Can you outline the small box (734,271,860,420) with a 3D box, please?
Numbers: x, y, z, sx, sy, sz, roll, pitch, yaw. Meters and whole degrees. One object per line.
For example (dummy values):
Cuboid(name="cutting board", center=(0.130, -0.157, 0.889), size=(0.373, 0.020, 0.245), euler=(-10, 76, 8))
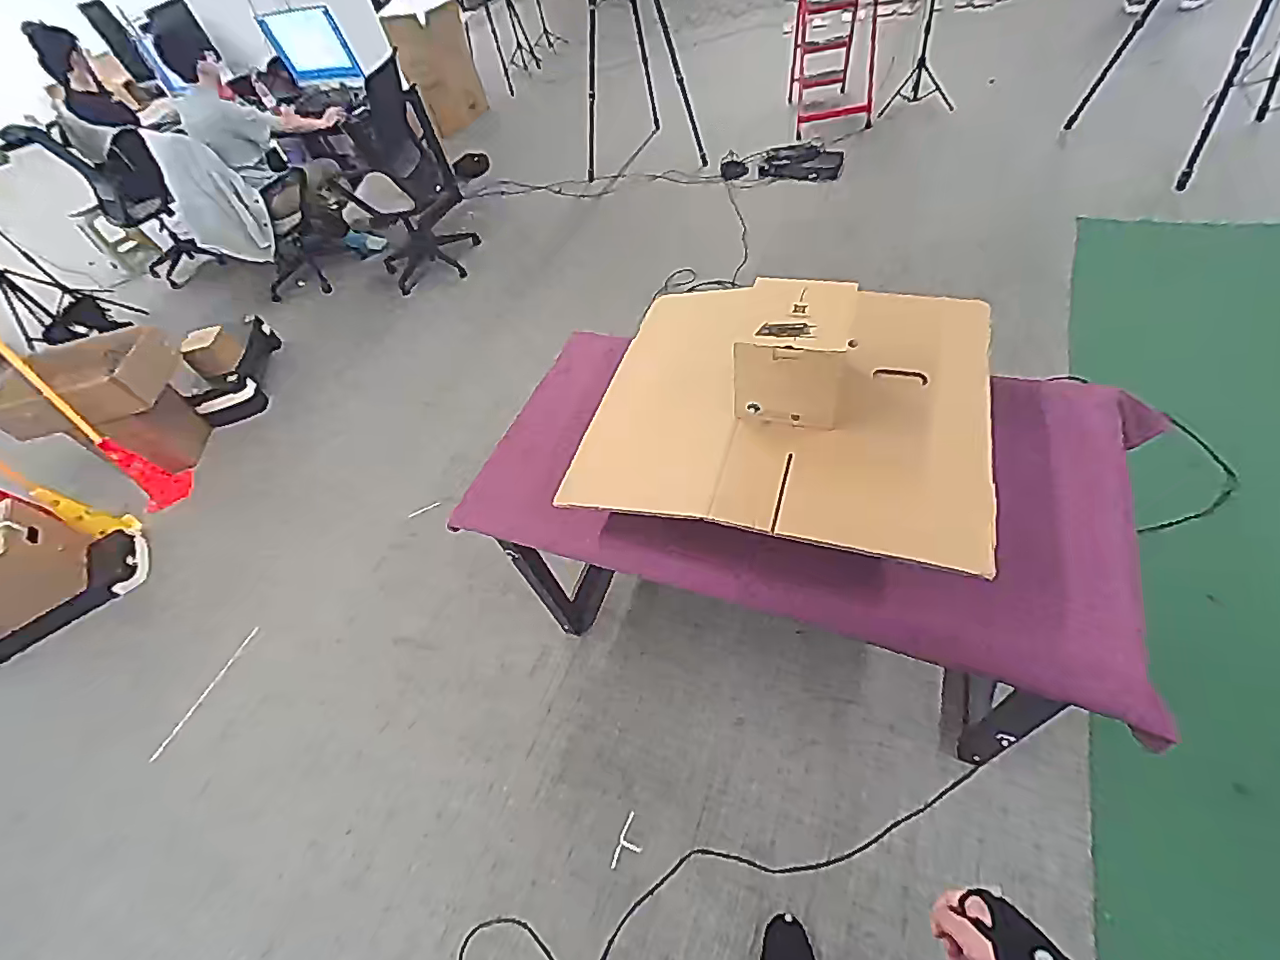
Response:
Cuboid(name="small box", center=(0.259, -0.222, 0.901), size=(0.168, 0.176, 0.179), euler=(11, 56, 18))
